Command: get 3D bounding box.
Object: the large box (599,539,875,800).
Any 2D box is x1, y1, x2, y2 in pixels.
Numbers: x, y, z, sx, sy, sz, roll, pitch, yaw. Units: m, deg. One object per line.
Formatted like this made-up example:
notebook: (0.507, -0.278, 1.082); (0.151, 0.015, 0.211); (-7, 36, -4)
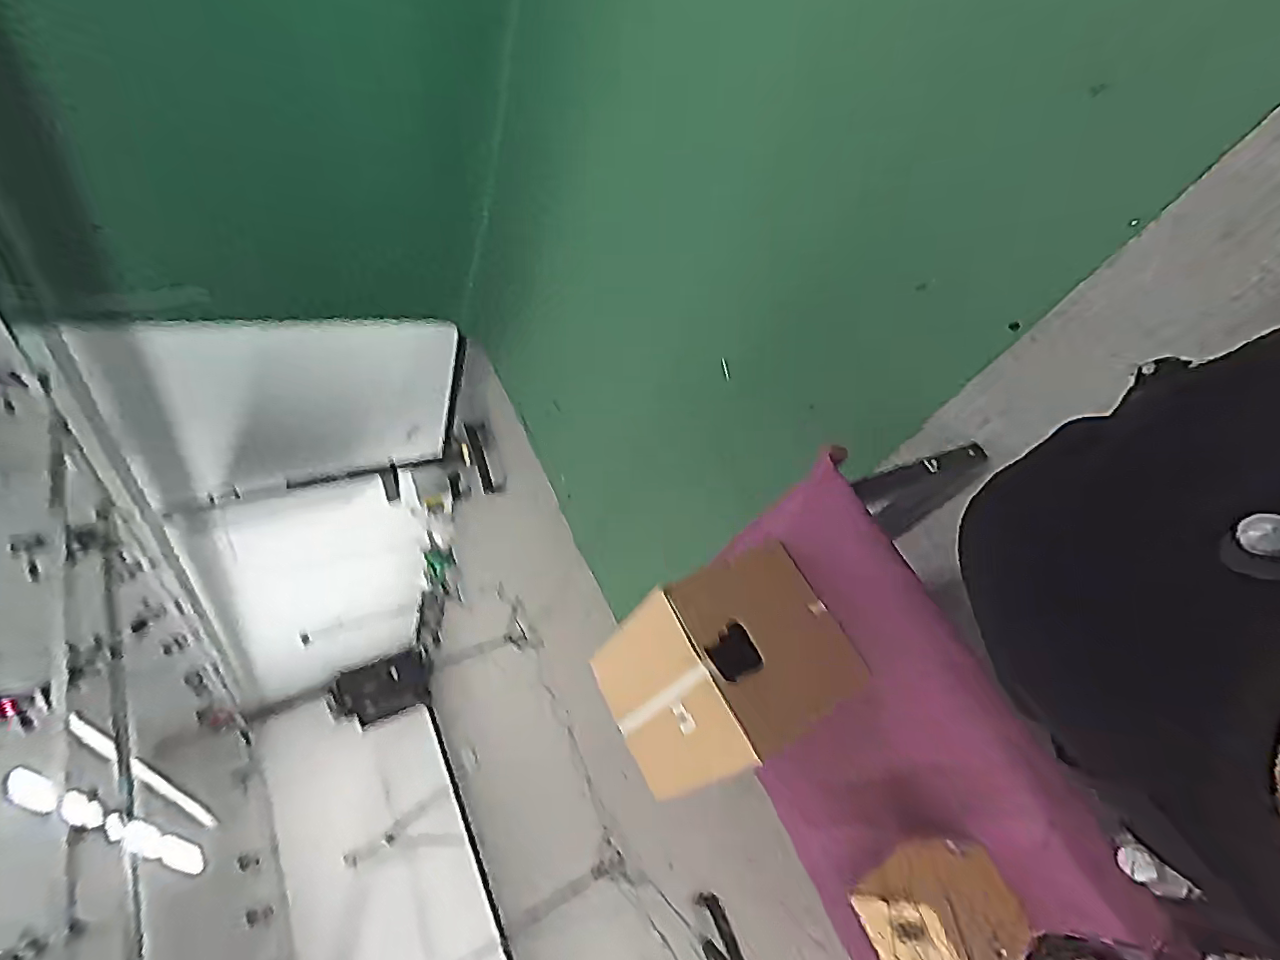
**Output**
large box: (0.169, 0.378, 1.090); (0.320, 0.320, 0.408); (58, 141, 23)
